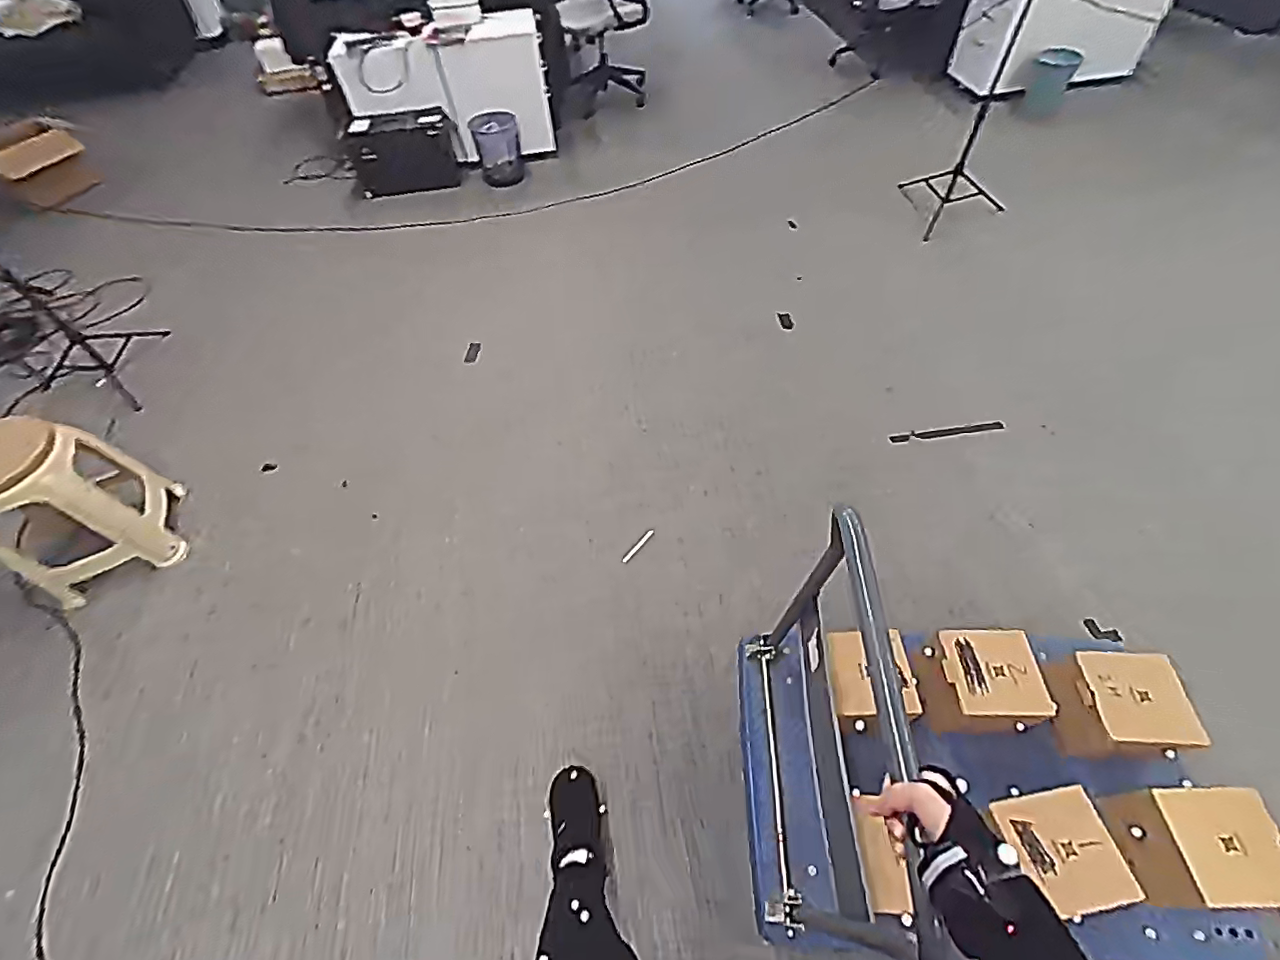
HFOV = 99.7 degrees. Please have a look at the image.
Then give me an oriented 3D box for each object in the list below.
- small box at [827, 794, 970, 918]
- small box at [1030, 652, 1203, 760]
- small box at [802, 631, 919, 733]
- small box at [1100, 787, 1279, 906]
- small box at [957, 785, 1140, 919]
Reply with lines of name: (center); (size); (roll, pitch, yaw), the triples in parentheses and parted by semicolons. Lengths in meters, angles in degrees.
small box: (0.447, 0.675, 0.973); (0.179, 0.176, 0.168); (1, 54, 3)
small box: (0.948, 0.462, 1.097); (0.179, 0.176, 0.168); (1, 54, 5)
small box: (0.453, 0.432, 1.148); (0.179, 0.176, 0.168); (-3, 55, 2)
small box: (0.977, 0.651, 0.960); (0.179, 0.176, 0.168); (-2, 54, 2)
small box: (0.704, 0.664, 0.966); (0.179, 0.176, 0.168); (-9, 54, -4)
